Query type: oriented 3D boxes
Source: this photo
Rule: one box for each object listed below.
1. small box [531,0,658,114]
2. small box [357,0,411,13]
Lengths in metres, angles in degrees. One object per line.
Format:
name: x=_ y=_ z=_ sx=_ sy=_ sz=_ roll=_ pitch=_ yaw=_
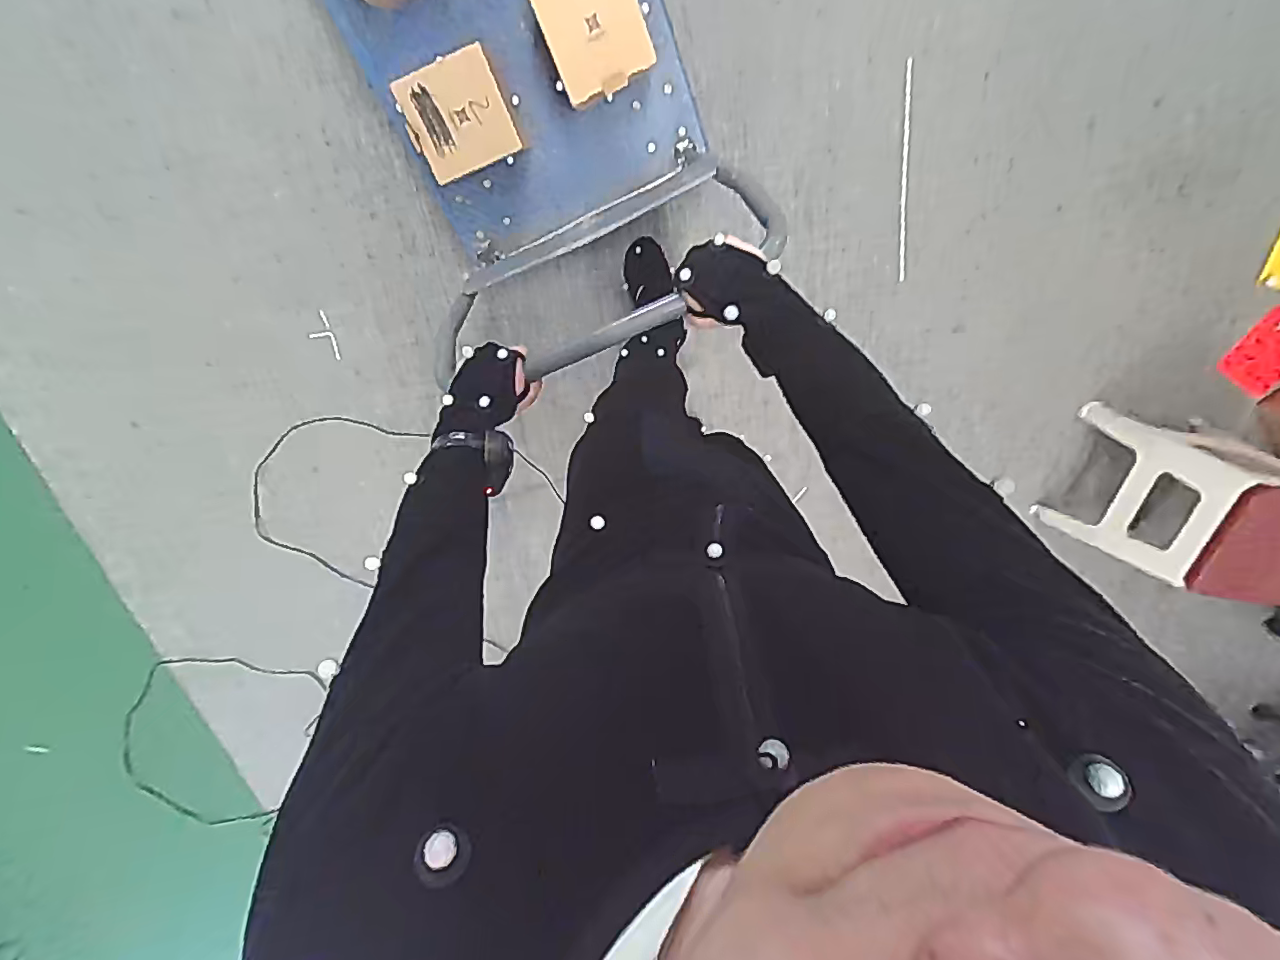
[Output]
small box: x=-0.080 y=-0.794 z=0.978 sx=0.168 sy=0.176 sz=0.179 roll=-22 pitch=122 yaw=9
small box: x=-0.429 y=-0.907 z=0.878 sx=0.168 sy=0.176 sz=0.179 roll=-28 pitch=120 yaw=11
